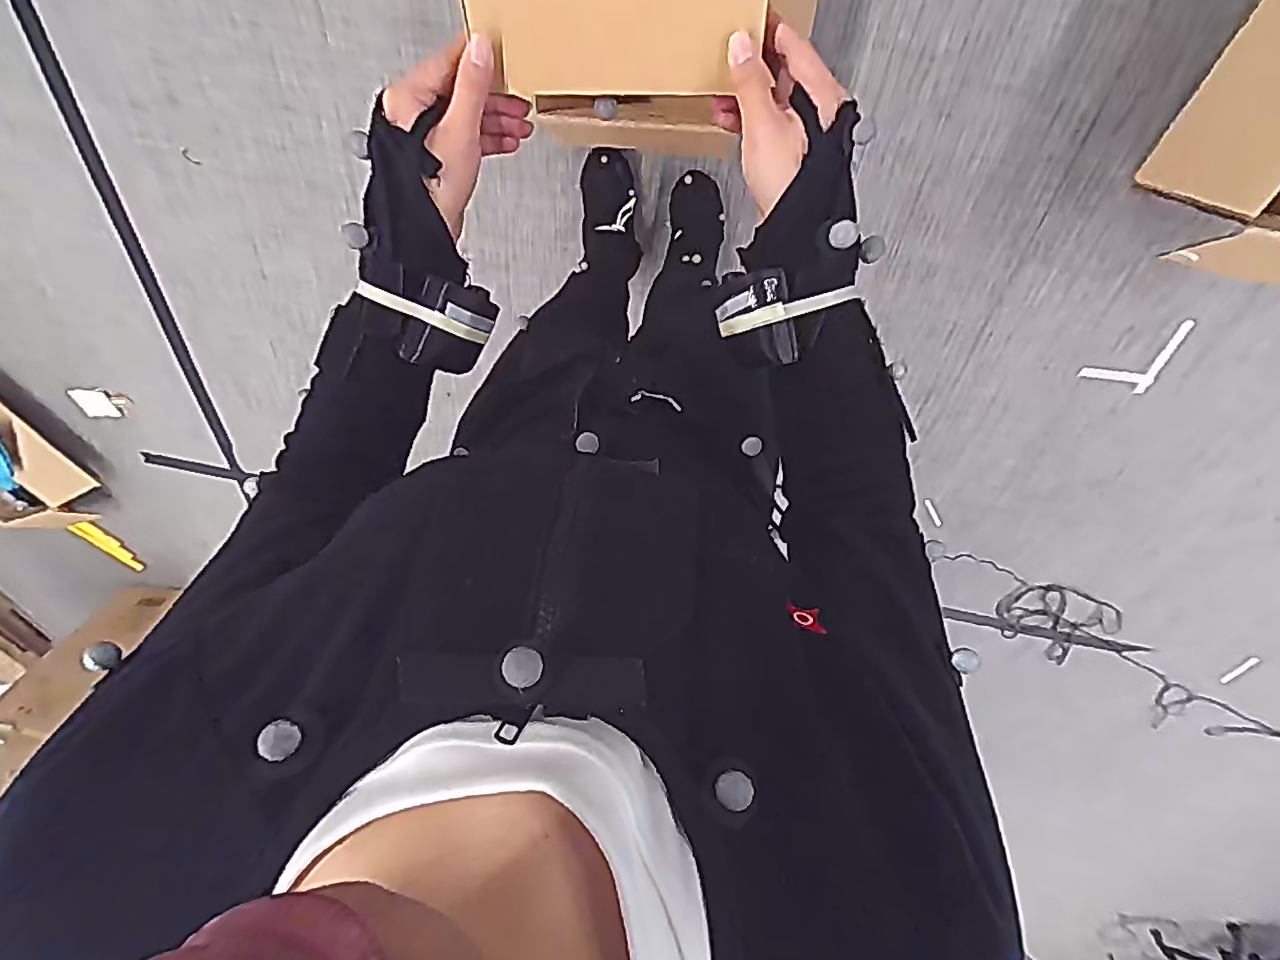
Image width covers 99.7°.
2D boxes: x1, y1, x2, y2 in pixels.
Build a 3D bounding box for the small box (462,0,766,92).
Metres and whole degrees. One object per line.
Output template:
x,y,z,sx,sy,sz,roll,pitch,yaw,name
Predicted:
-0.014,-0.355,0.340,0.179,0.176,0.168,1,131,1,small box
